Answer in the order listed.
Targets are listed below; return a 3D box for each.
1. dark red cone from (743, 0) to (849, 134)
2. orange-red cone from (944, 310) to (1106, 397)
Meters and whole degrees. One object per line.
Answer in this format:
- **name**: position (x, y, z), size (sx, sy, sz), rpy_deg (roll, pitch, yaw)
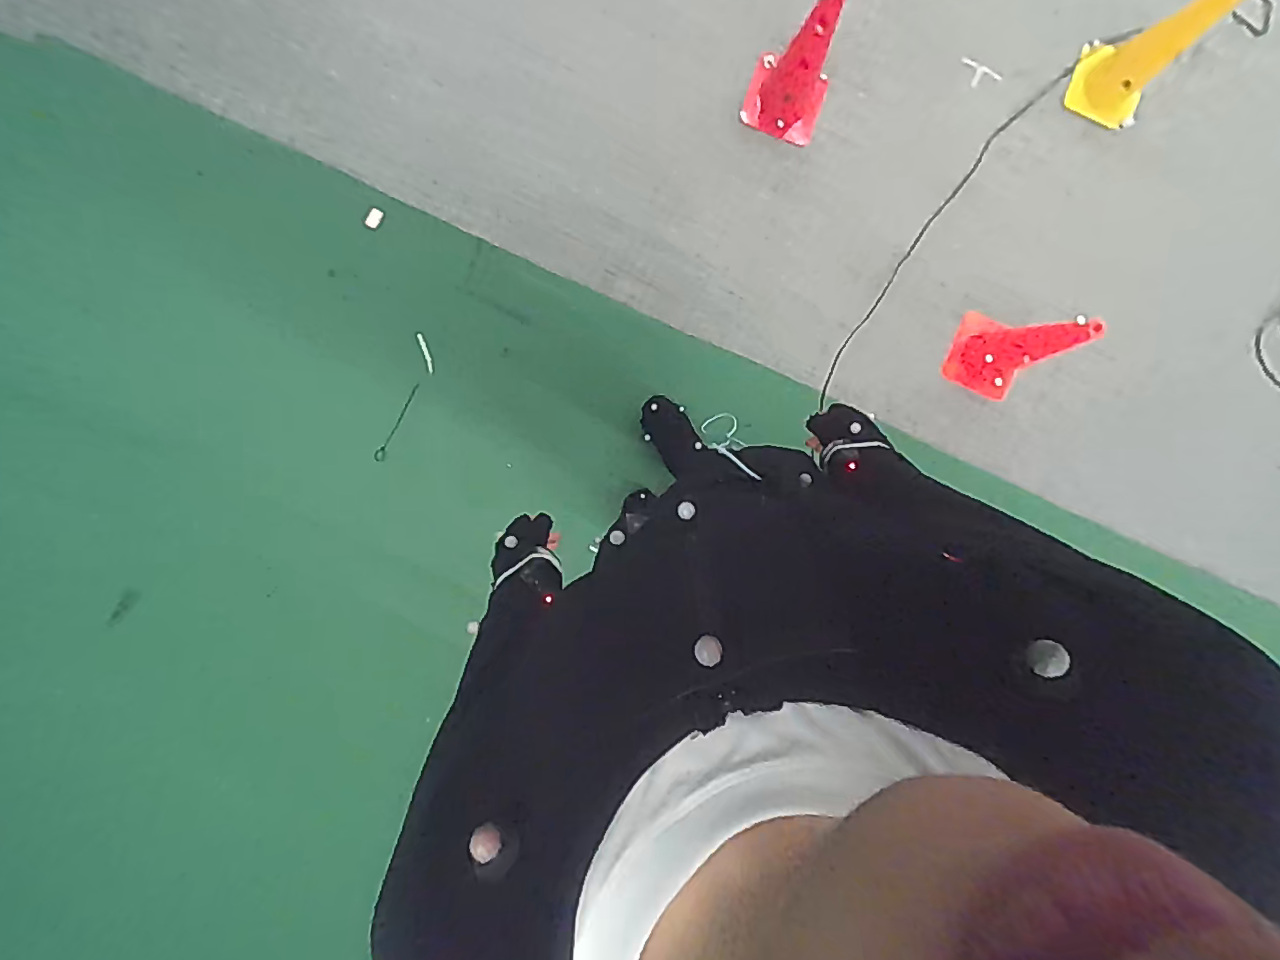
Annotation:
- **dark red cone**: position (0.397, -1.018, 1.256), size (0.202, 0.394, 0.201), rpy_deg (18, 93, -4)
- **orange-red cone**: position (0.979, -0.347, 1.345), size (0.198, 0.360, 0.199), rpy_deg (24, 90, -5)
